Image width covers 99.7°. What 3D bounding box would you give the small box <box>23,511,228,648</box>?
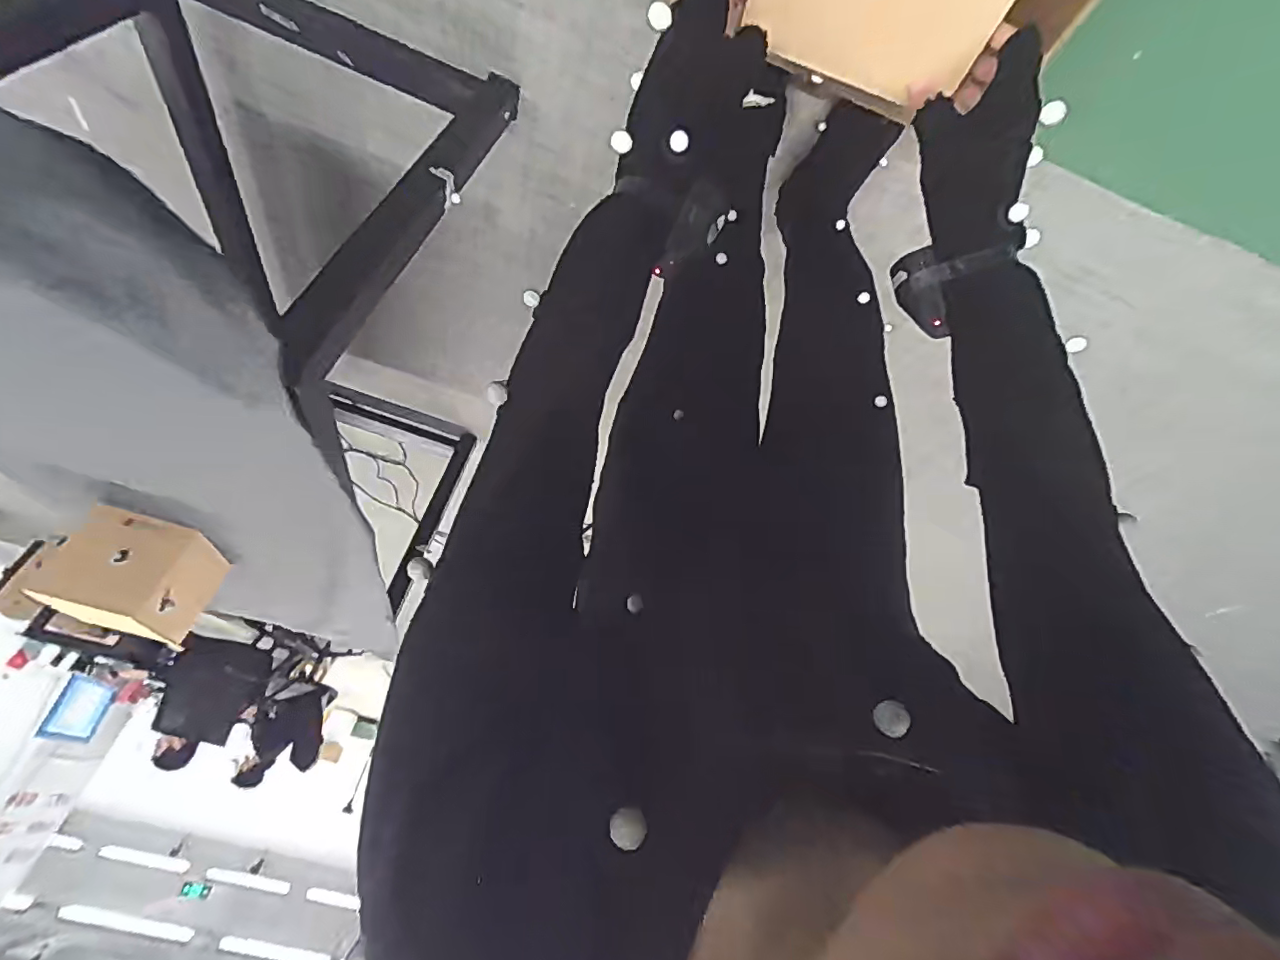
[{"bbox_3d":[-0.886,0.177,0.957,0.168,0.176,0.179,18,146,-7],"label":"small box"}]

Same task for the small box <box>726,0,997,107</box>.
[{"bbox_3d":[0.180,-0.424,0.398,0.179,0.176,0.168,17,145,-6],"label":"small box"}]
